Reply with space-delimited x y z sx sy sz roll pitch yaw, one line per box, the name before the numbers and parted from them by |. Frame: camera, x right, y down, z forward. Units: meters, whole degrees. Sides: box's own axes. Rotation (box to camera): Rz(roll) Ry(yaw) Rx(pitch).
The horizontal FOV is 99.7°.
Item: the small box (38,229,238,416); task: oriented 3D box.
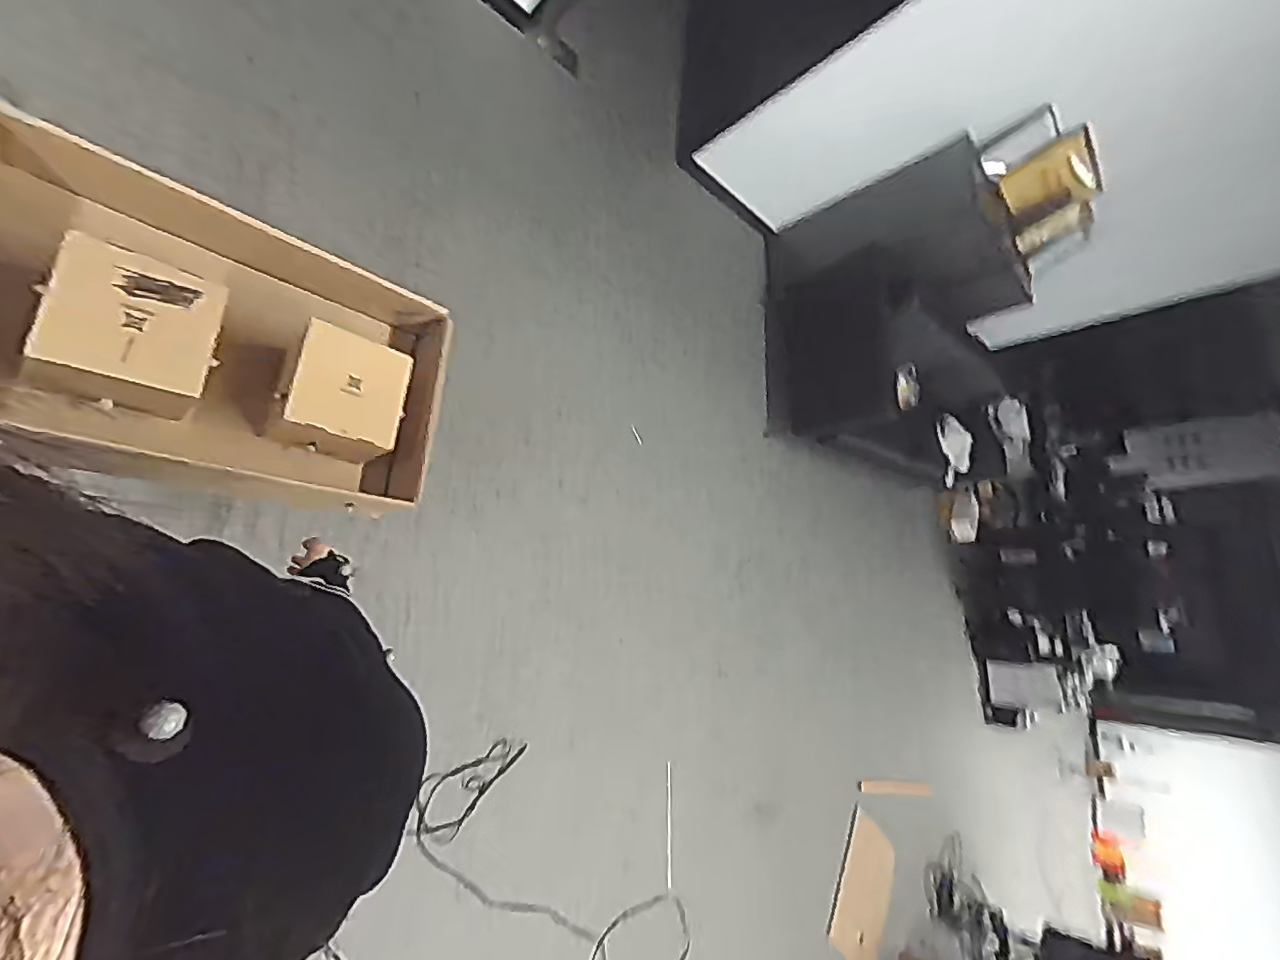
small box | -0.703 -0.207 0.765 0.168 0.176 0.179 17 72 -42
